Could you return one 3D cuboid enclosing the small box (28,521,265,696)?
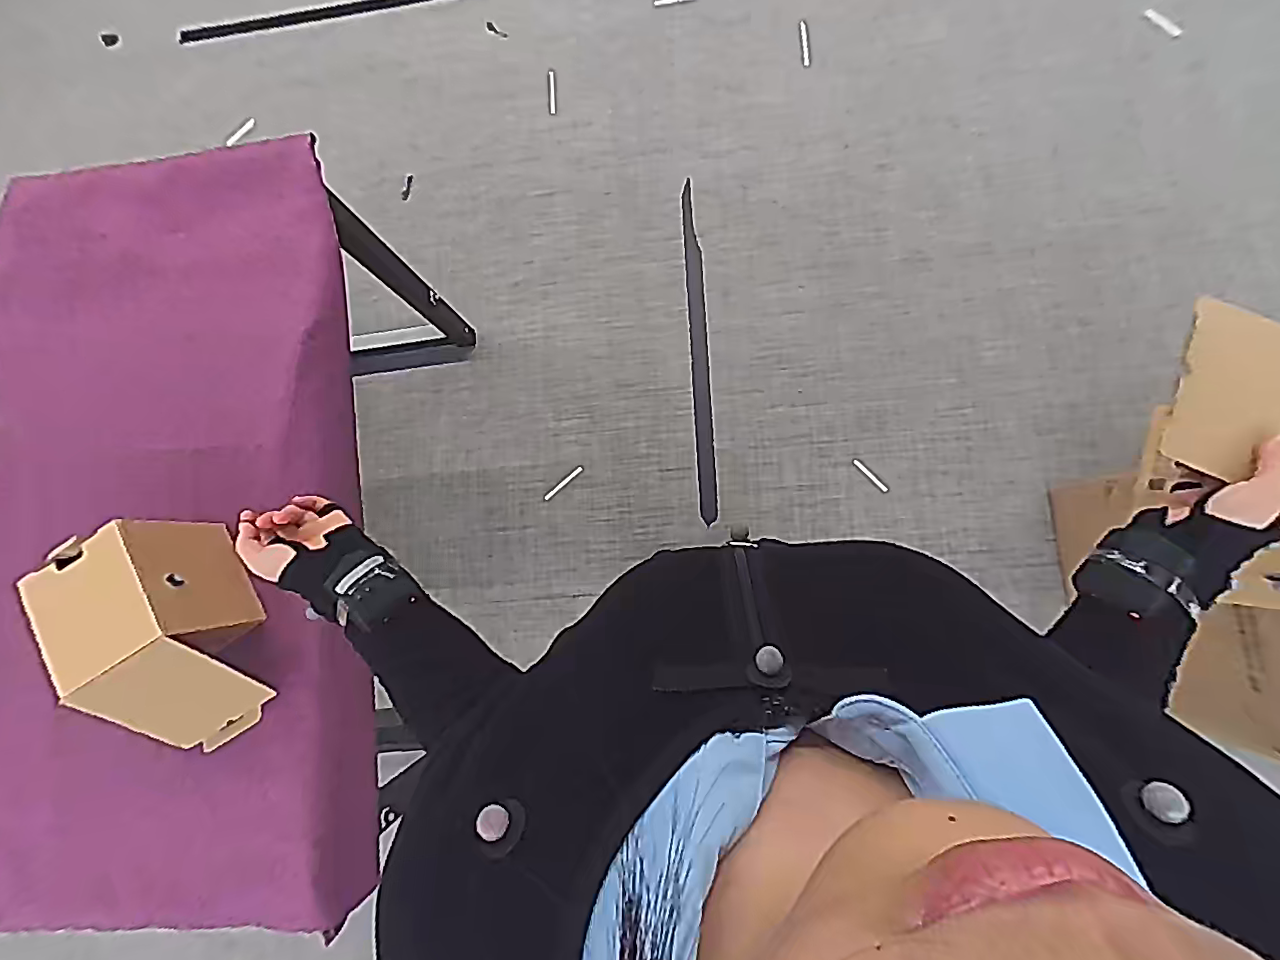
[{"bbox_3d":[-0.695,0.175,0.783,0.168,0.176,0.179,-32,79,2],"label":"small box"}]
